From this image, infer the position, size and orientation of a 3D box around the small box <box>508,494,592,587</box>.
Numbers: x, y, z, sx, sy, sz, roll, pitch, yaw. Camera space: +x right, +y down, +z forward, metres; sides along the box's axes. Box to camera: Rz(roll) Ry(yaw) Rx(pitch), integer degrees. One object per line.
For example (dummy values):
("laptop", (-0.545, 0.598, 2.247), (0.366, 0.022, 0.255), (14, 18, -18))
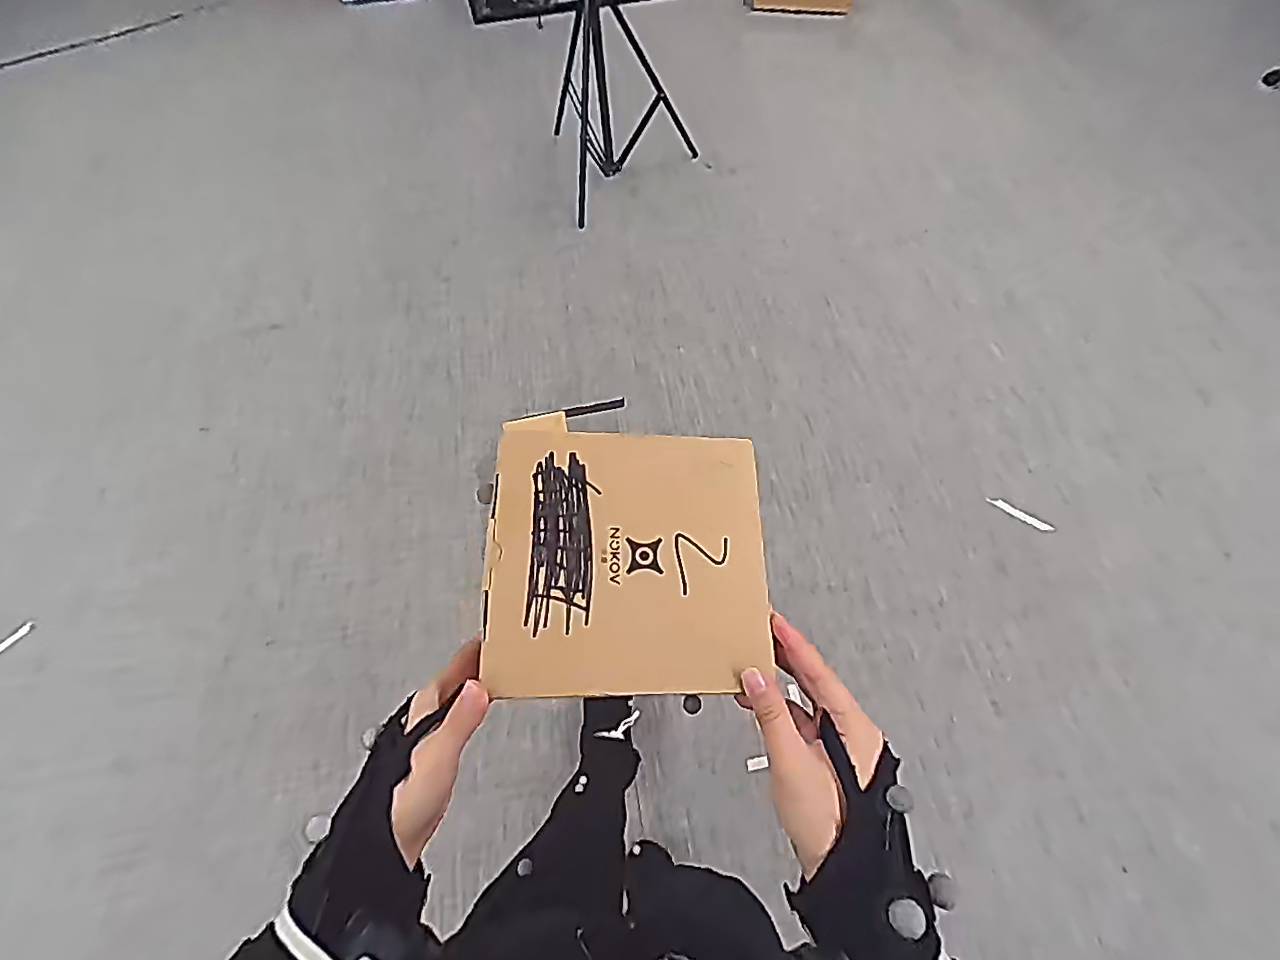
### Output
("small box", (-0.217, 0.153, 1.343), (0.179, 0.176, 0.168), (-11, 63, -2))

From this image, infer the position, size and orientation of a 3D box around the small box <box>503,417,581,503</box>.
("small box", (-0.260, -0.044, 1.441), (0.168, 0.176, 0.179), (-12, 63, -3))
